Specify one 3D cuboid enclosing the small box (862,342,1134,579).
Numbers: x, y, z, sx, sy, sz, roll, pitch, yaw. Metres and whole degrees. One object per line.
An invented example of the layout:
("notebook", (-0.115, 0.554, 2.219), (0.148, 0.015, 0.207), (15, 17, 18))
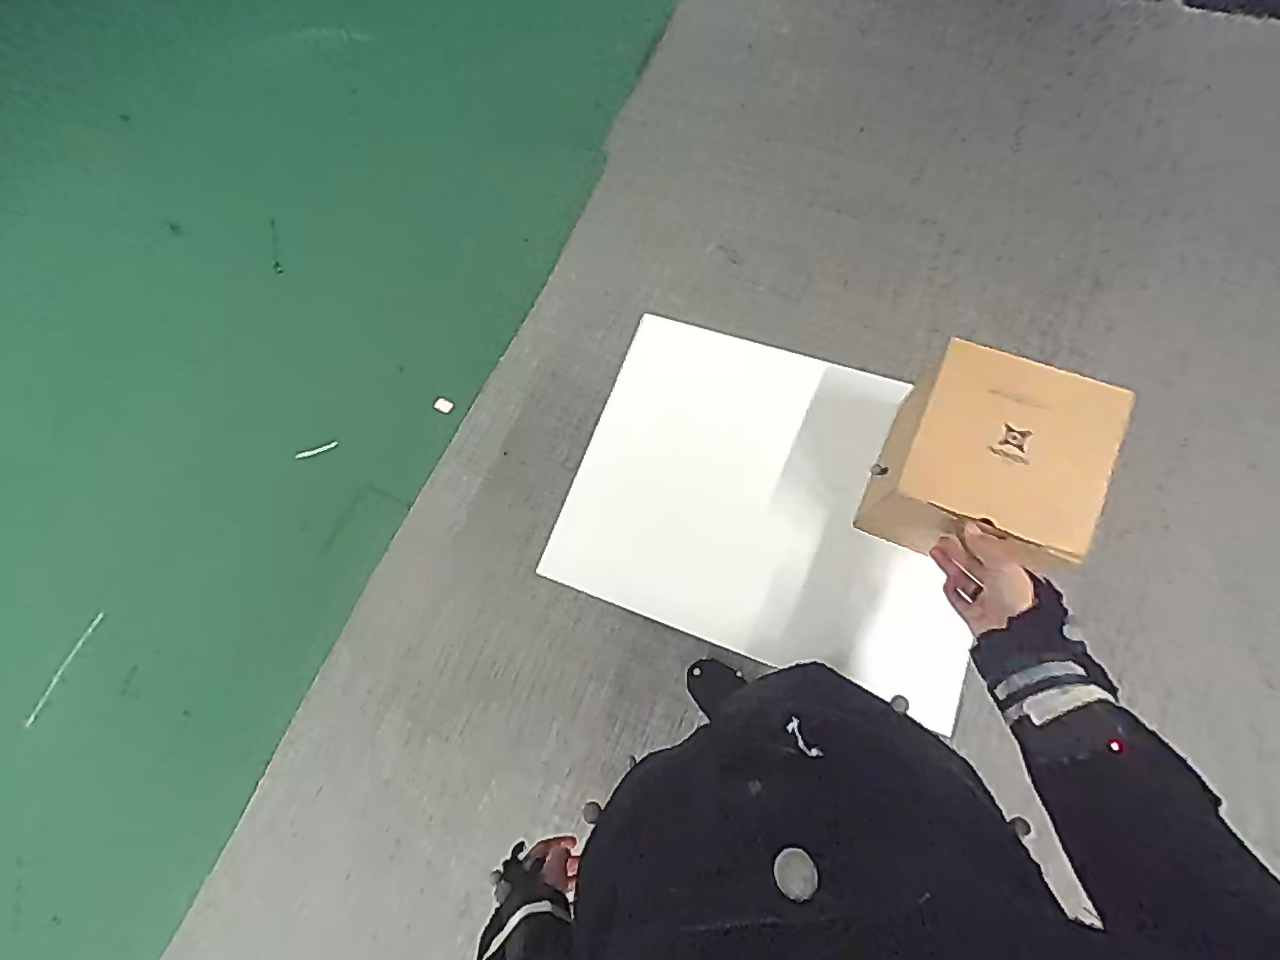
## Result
("small box", (0.356, -0.008, 0.576), (0.168, 0.176, 0.179), (23, 78, 13))
